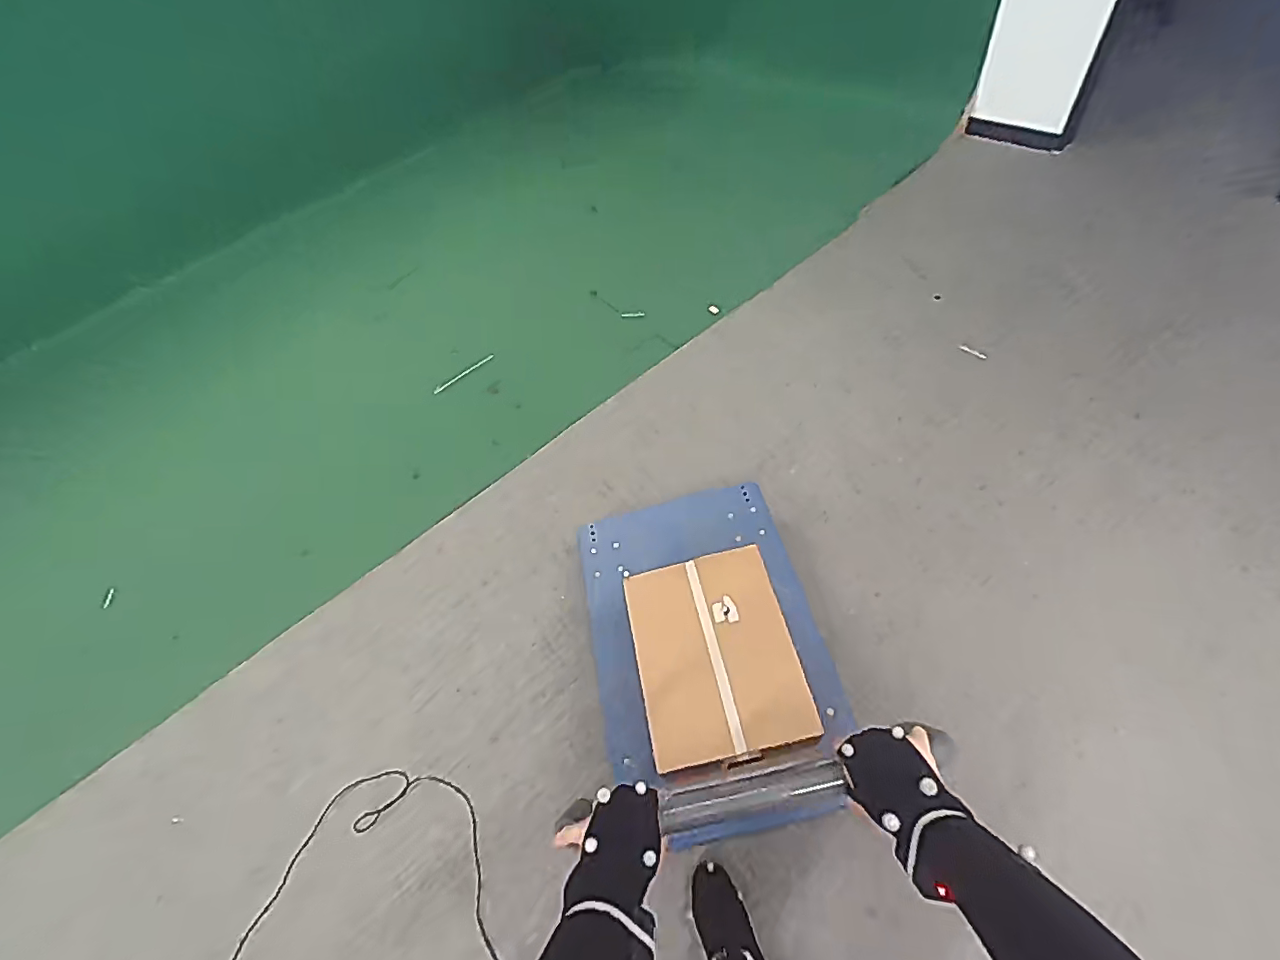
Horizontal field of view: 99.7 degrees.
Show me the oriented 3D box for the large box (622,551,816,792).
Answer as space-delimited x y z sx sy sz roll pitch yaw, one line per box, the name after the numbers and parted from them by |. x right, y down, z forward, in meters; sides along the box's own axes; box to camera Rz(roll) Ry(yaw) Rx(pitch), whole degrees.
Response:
0.172 0.437 1.232 0.320 0.320 0.408 -14 52 2 | large box
